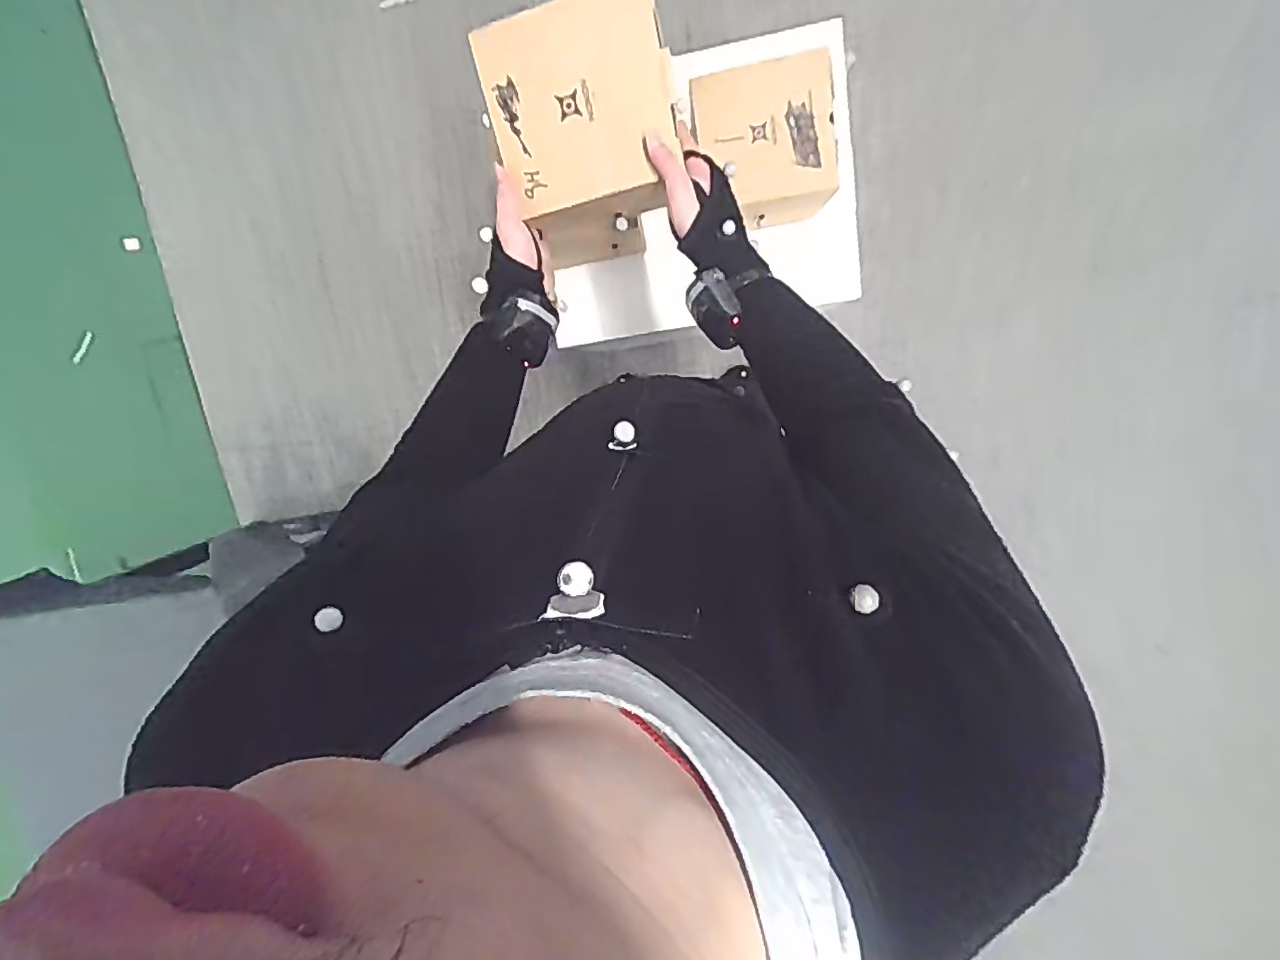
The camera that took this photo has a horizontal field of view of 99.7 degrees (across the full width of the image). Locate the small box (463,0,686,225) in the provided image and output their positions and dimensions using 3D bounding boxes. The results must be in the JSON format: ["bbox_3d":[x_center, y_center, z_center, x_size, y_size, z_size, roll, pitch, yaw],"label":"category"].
[{"bbox_3d":[-0.053,-0.380,0.566,0.179,0.176,0.168,-10,108,8],"label":"small box"}]

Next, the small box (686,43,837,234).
[{"bbox_3d":[0.160,-0.458,0.755,0.179,0.176,0.168,-7,102,6],"label":"small box"}]

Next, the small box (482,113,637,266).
[{"bbox_3d":[-0.102,-0.422,0.781,0.179,0.176,0.168,-10,100,6],"label":"small box"}]
